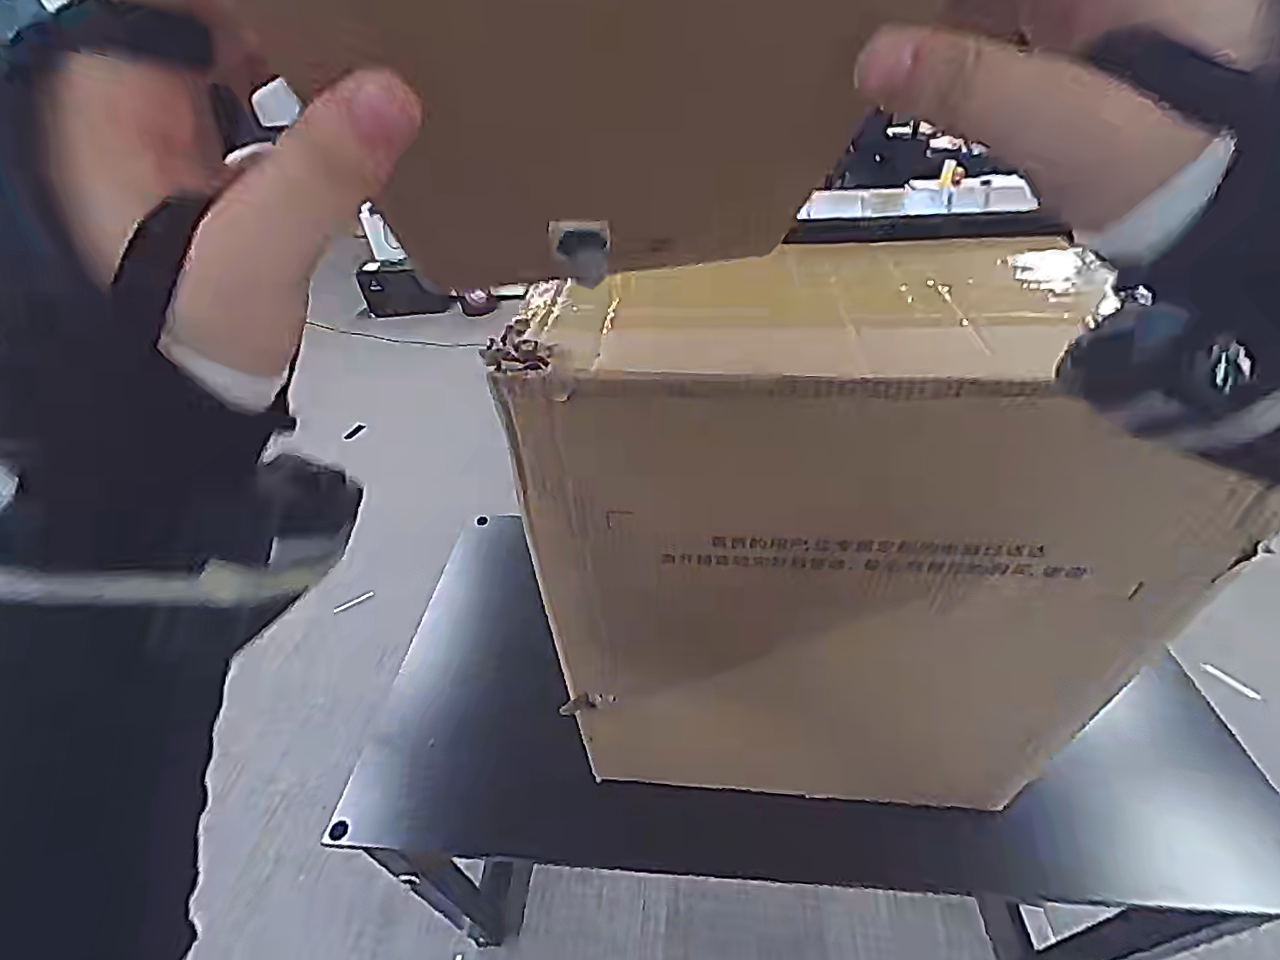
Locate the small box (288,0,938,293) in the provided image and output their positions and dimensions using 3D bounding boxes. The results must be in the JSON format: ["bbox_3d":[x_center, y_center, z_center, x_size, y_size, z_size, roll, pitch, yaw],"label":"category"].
[{"bbox_3d":[-0.020,-0.191,0.187,0.168,0.179,0.176,-10,-4,-5],"label":"small box"}]
